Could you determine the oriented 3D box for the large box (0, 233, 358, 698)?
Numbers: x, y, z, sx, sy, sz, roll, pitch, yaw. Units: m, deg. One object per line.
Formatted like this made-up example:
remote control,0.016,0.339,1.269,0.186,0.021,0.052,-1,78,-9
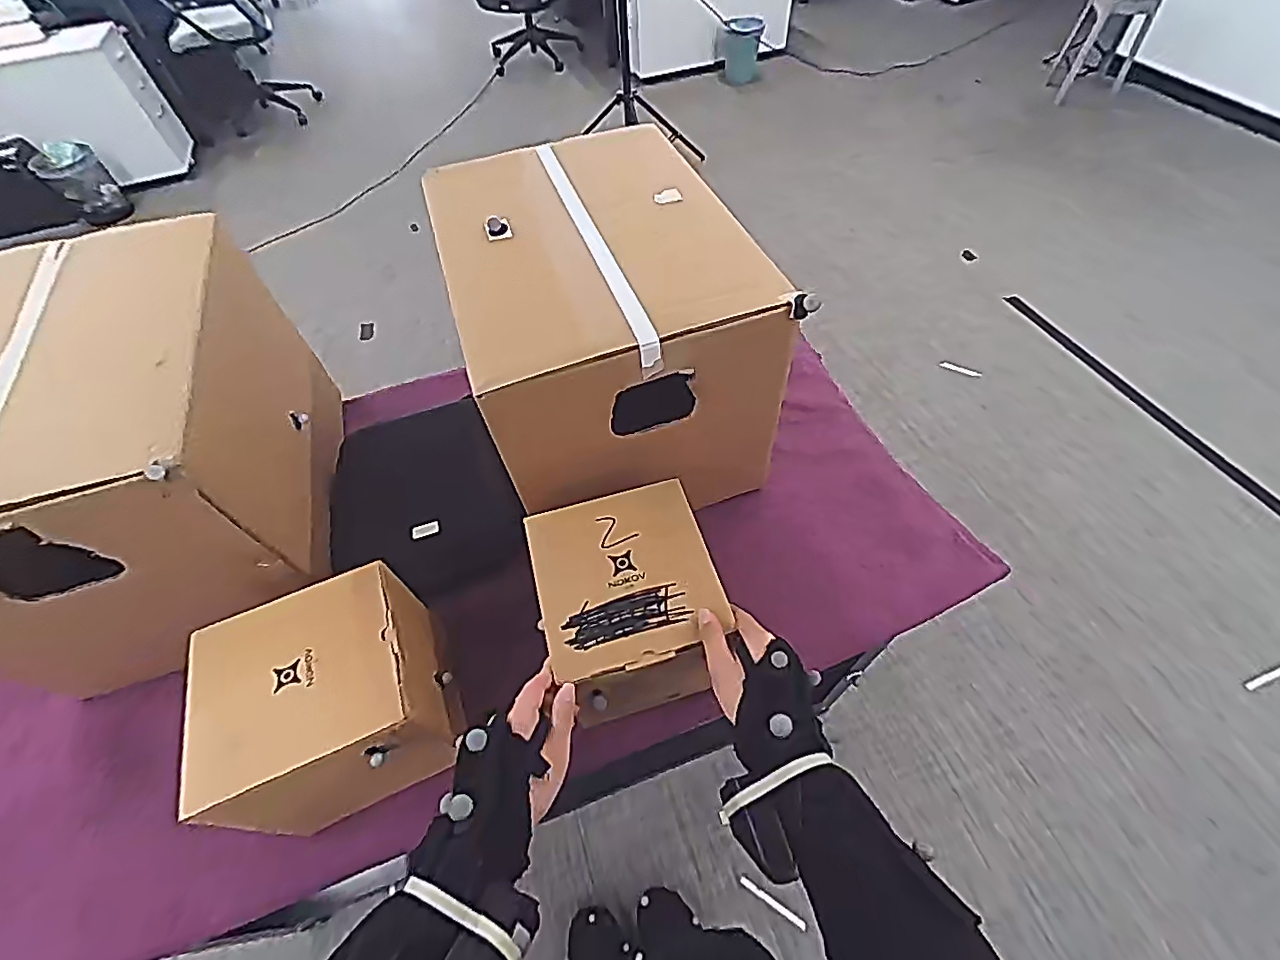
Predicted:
large box,-0.575,-0.018,0.646,0.320,0.320,0.408,-19,58,-9
